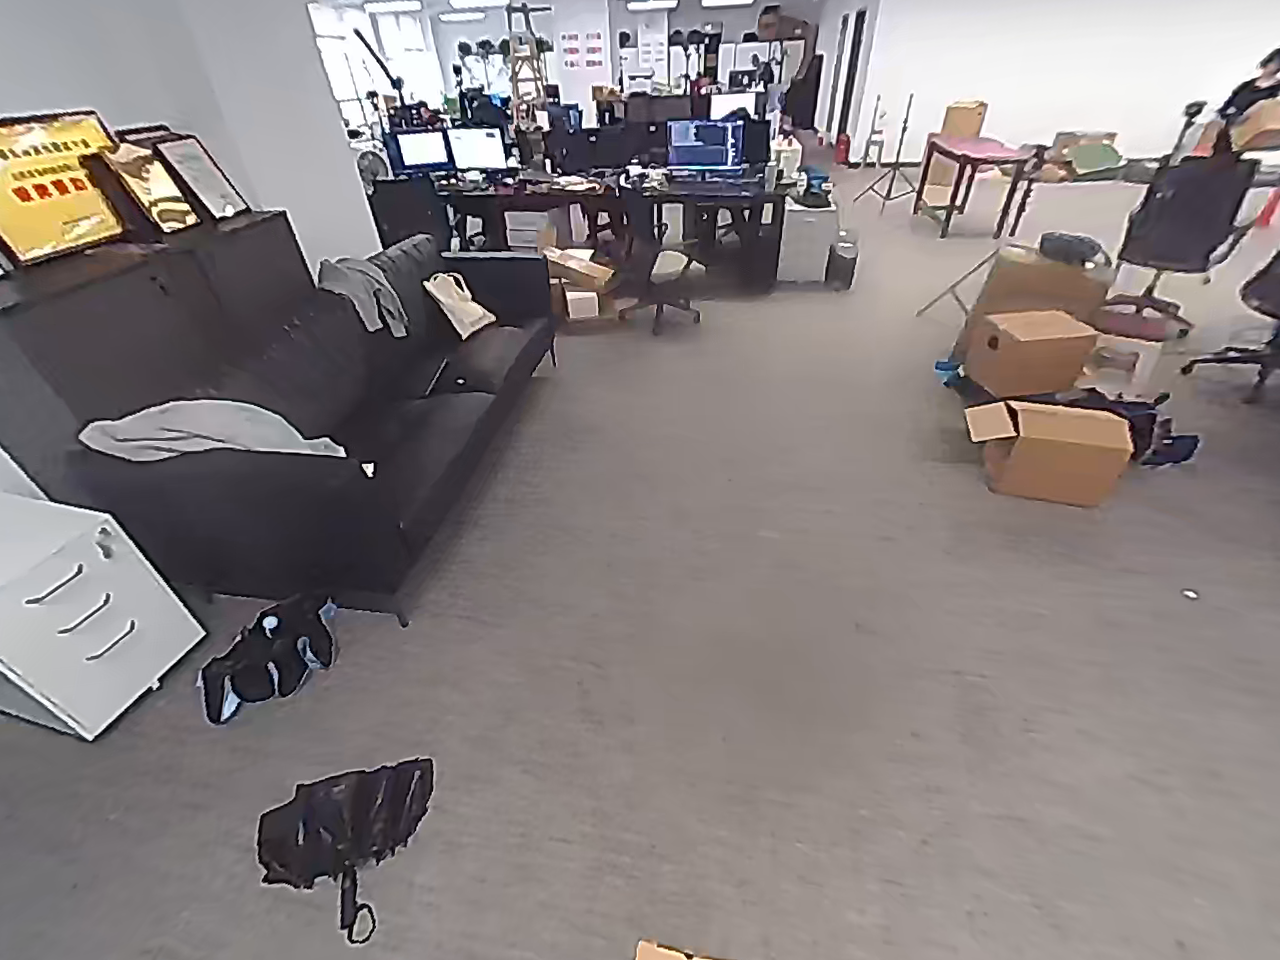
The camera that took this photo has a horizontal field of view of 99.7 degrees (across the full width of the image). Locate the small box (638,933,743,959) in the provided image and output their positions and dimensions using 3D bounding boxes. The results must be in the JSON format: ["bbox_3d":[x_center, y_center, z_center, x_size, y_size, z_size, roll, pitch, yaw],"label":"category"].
[{"bbox_3d":[0.067,0.848,0.838,0.168,0.176,0.179,5,40,9],"label":"small box"}]
